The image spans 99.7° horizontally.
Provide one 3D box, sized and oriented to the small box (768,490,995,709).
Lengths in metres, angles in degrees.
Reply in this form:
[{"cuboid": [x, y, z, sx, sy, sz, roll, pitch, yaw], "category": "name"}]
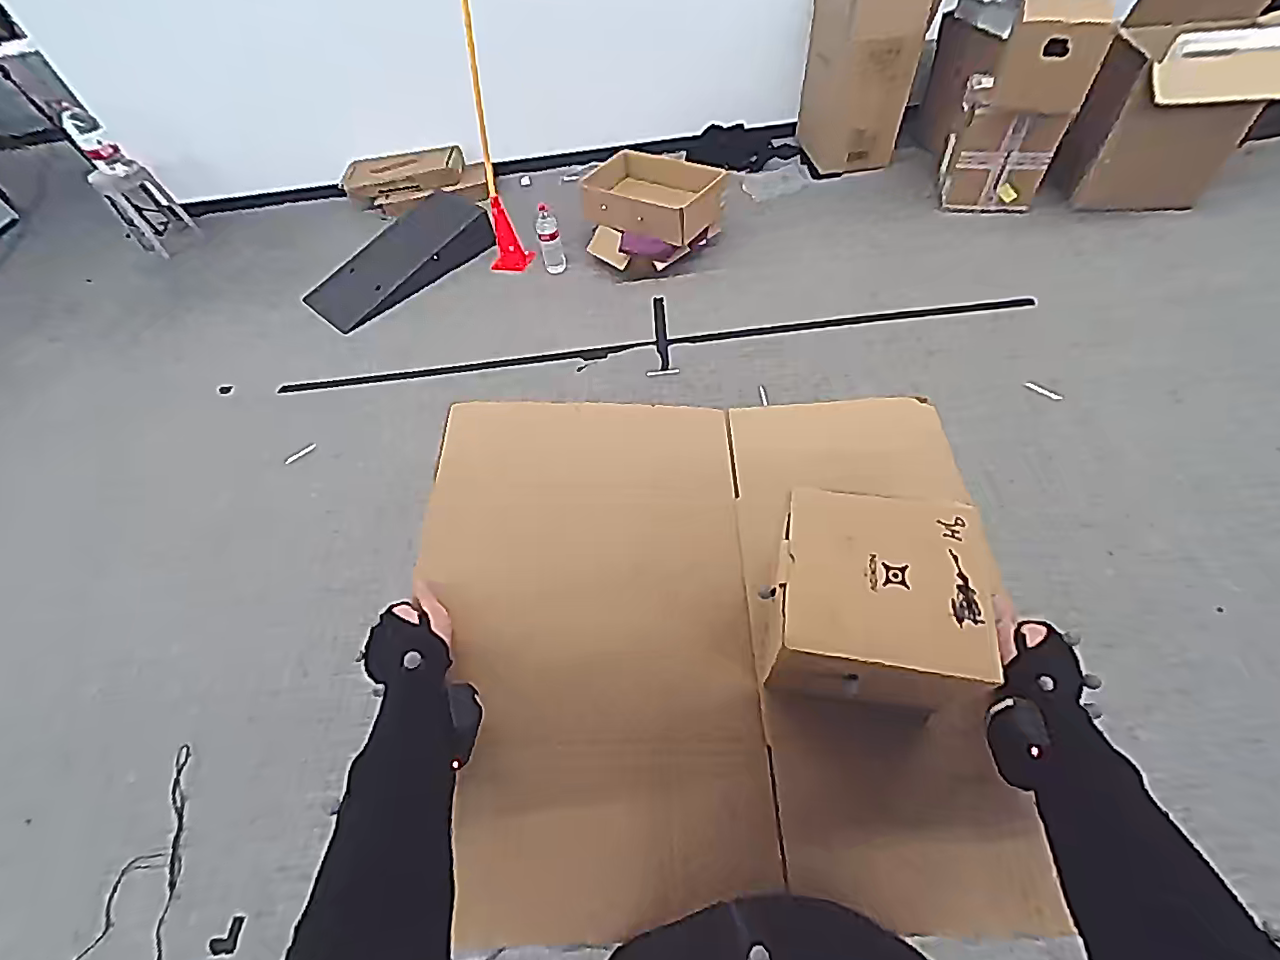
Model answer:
[{"cuboid": [0.231, 0.129, 0.564, 0.179, 0.176, 0.168, 6, 59, 12], "category": "small box"}]
